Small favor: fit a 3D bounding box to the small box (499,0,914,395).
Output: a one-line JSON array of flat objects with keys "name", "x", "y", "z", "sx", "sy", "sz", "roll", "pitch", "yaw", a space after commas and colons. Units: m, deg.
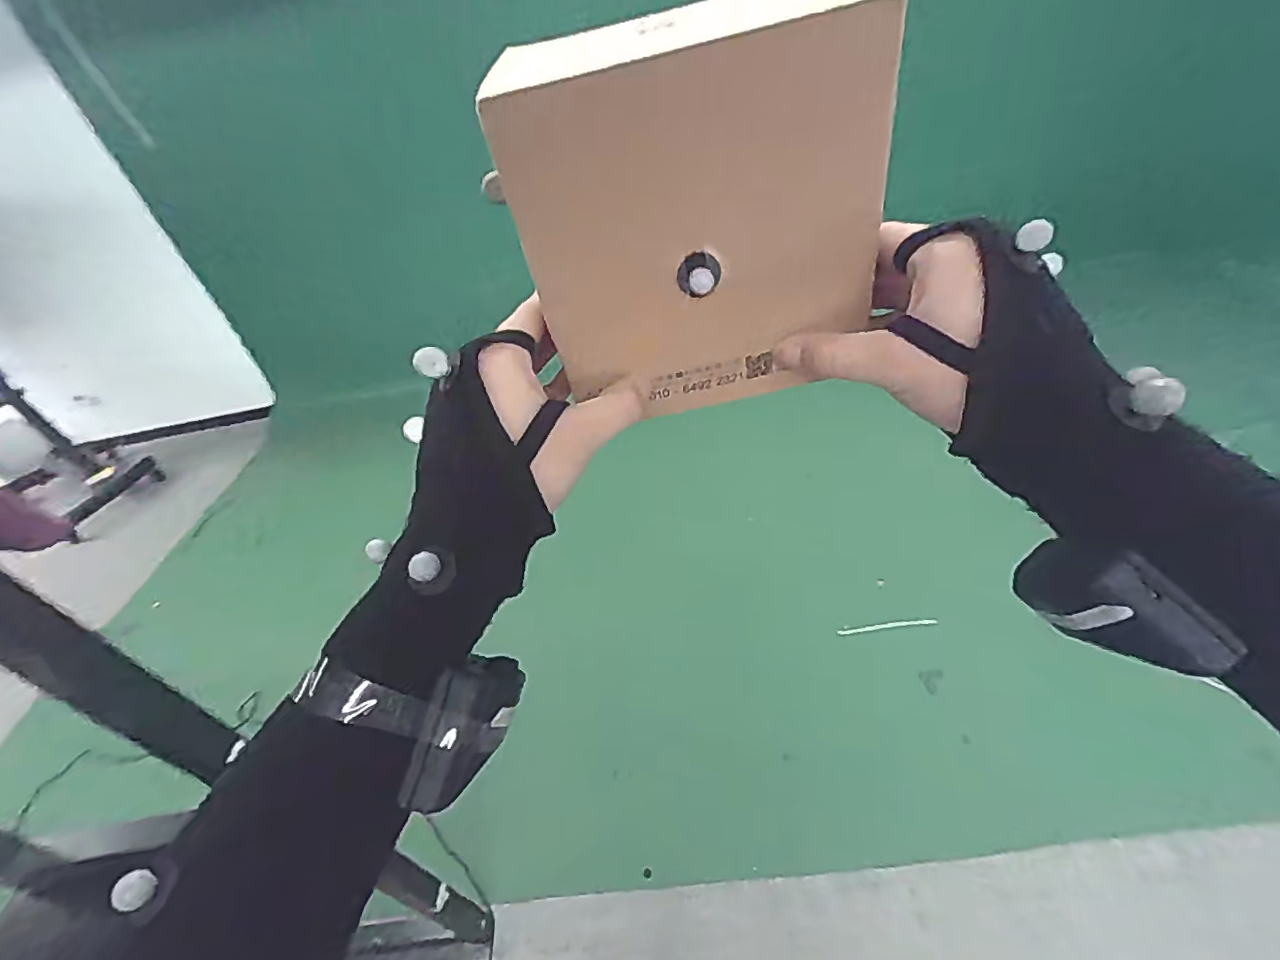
[{"name": "small box", "x": 0.032, "y": -0.165, "z": 0.317, "sx": 0.168, "sy": 0.176, "sz": 0.179, "roll": -11, "pitch": 43, "yaw": 3}]
